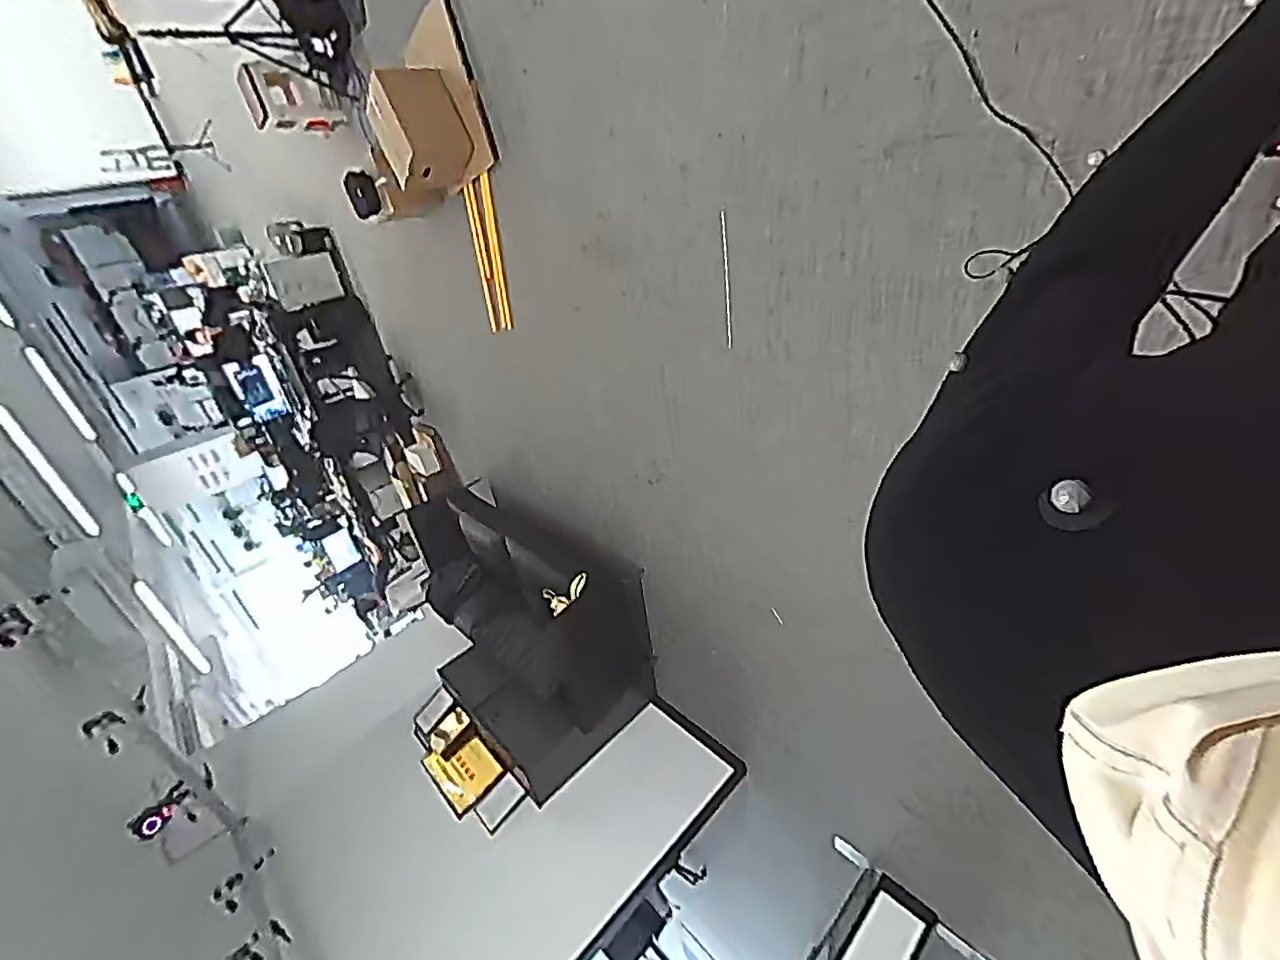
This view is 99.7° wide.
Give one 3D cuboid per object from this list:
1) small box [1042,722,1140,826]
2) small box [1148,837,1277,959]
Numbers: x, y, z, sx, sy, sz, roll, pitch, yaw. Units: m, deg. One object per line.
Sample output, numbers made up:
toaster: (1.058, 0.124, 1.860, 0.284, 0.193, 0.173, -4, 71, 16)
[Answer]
small box: (1.346, 0.870, 1.611, 0.168, 0.176, 0.179, 26, 134, 38)
small box: (1.425, 1.046, 1.346, 0.168, 0.176, 0.179, 29, 137, 39)
